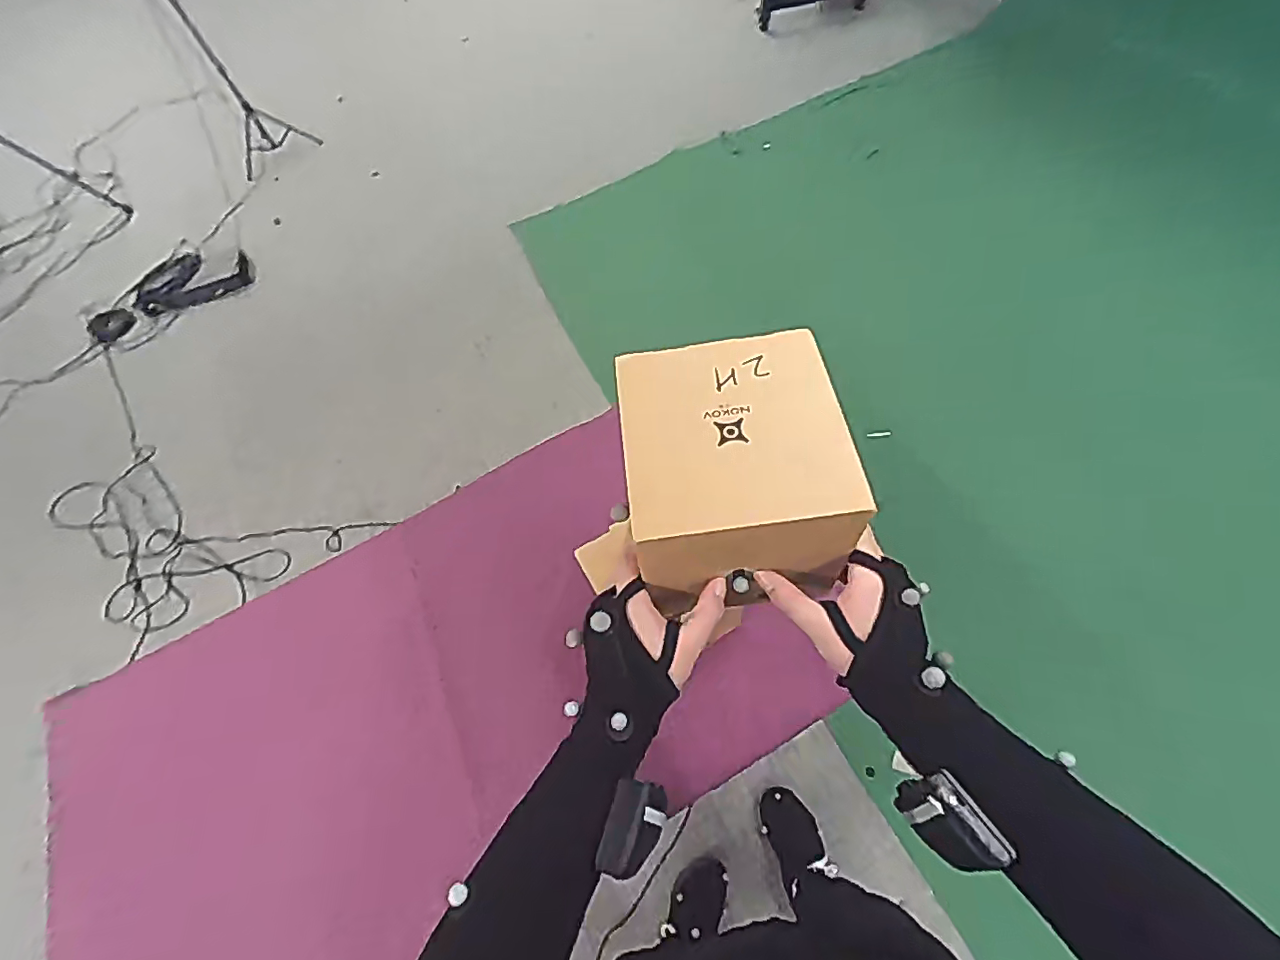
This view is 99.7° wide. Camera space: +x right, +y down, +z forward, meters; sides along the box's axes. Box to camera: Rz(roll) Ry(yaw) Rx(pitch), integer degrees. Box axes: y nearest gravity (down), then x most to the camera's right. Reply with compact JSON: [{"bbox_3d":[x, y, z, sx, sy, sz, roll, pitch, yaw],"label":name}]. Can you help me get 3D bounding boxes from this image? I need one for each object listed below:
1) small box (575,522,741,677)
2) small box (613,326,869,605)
[{"bbox_3d":[0.029,0.159,0.787,0.168,0.176,0.179,-30,61,-8],"label":"small box"},{"bbox_3d":[0.073,0.000,0.466,0.168,0.176,0.179,-7,58,3],"label":"small box"}]
